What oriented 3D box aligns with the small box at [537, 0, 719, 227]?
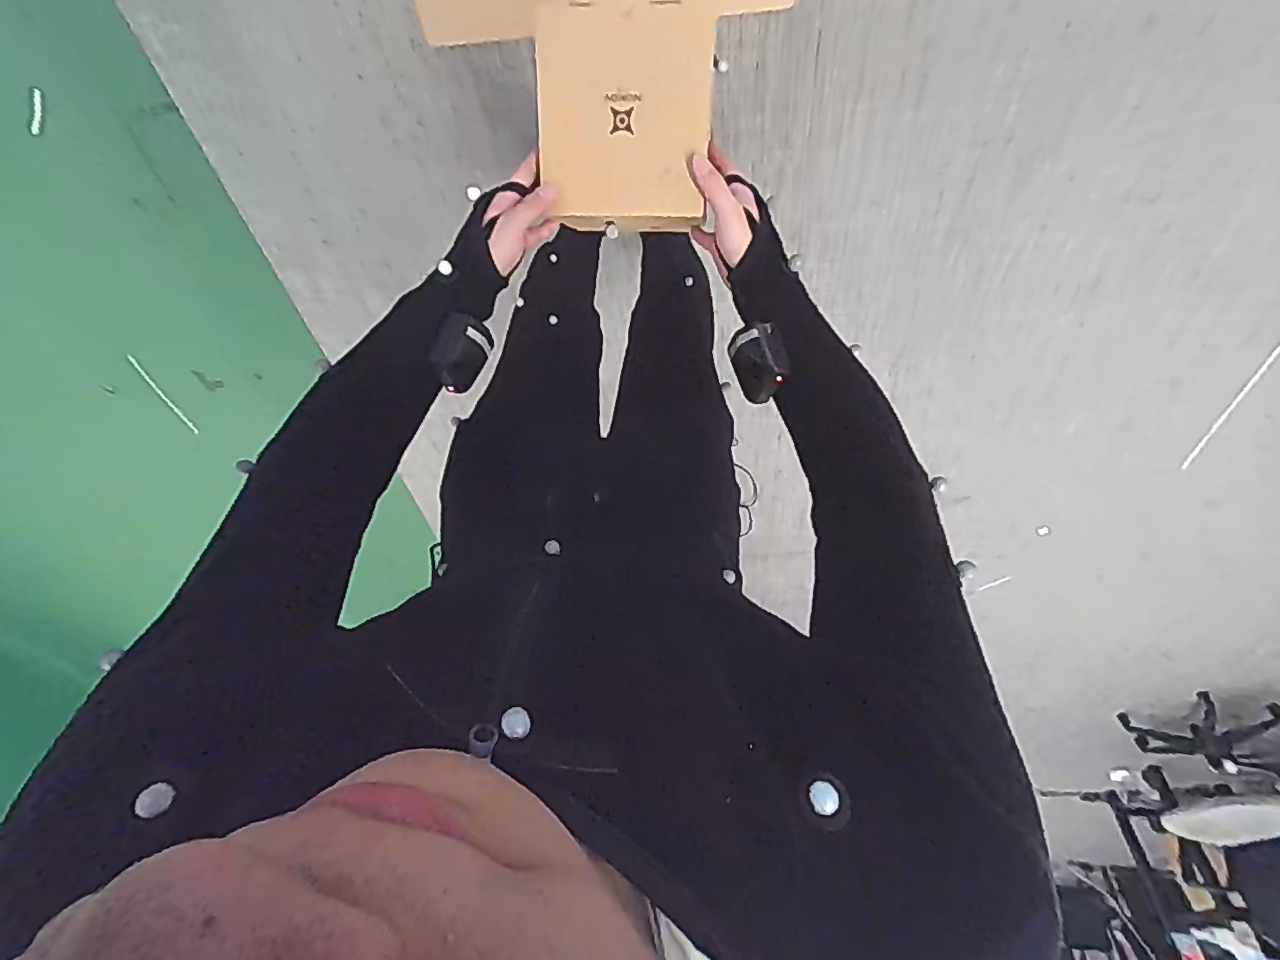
[{"bbox_3d":[-0.004,-0.374,0.582,0.168,0.176,0.179,4,109,7],"label":"small box"}]
